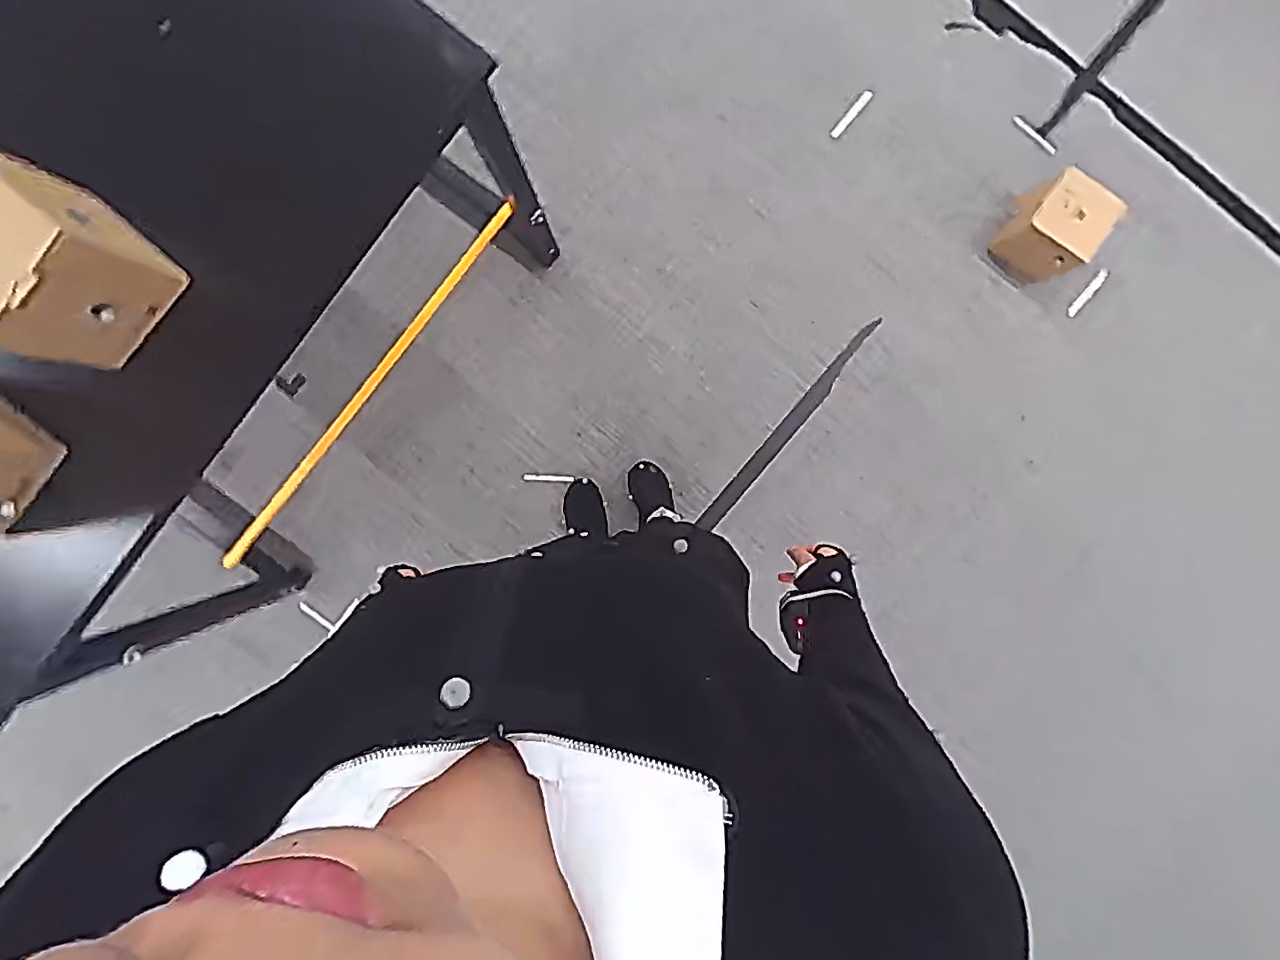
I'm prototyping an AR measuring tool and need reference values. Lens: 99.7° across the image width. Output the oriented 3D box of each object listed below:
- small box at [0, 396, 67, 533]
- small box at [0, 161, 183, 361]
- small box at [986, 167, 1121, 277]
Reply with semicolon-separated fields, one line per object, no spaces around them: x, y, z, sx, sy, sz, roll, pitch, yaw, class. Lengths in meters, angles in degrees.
-0.919;-0.027;0.684;0.179;0.176;0.168;38;93;-2;small box
-0.740;-0.266;0.672;0.179;0.176;0.168;41;92;-2;small box
1.044;-0.643;1.380;0.179;0.176;0.168;33;92;-2;small box
